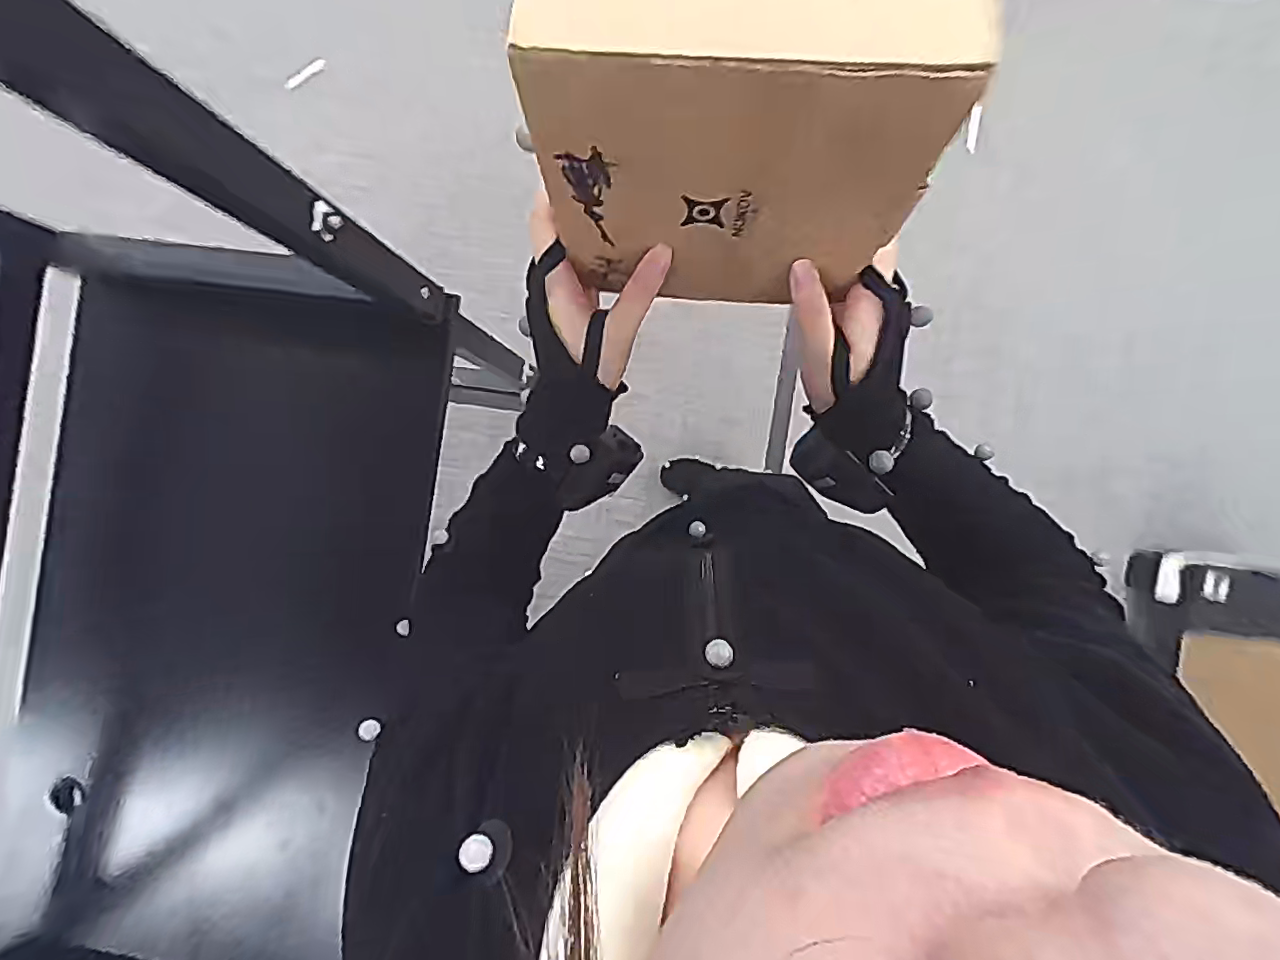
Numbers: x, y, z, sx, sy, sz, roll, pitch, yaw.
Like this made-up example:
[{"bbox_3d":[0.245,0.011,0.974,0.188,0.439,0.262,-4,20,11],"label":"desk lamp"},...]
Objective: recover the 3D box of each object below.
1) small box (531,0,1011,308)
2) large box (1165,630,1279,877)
[{"bbox_3d":[0.052,-0.211,0.285,0.179,0.168,0.176,4,77,3],"label":"small box"},{"bbox_3d":[1.351,0.552,1.077,0.320,0.320,0.408,6,89,3],"label":"large box"}]
